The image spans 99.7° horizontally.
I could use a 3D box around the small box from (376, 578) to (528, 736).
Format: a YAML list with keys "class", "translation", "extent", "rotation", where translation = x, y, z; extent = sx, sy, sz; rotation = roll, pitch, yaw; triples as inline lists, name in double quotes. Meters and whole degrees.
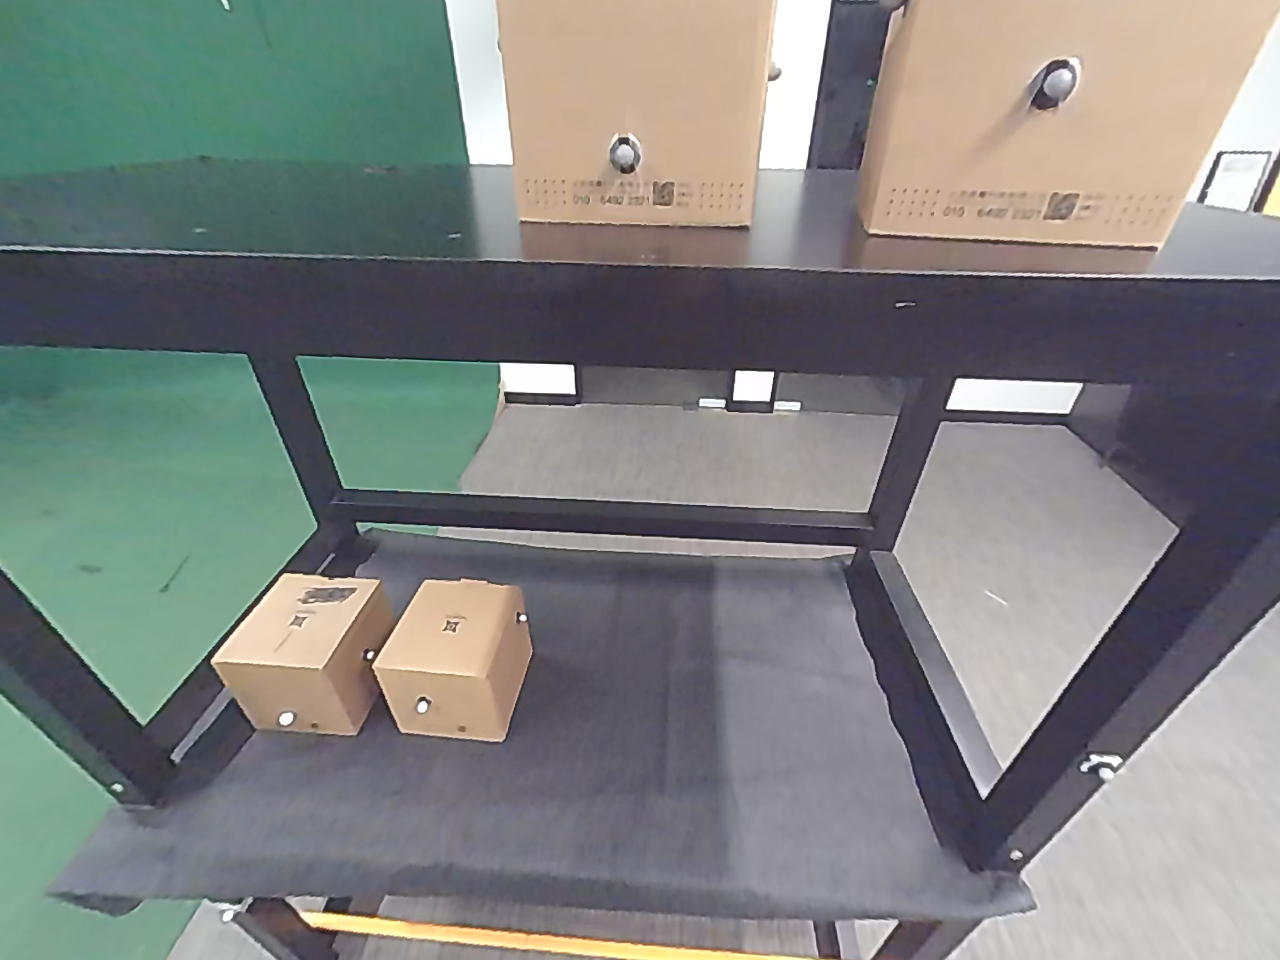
- class: "small box"
  translation: [-0.283, 0.283, 0.866]
  extent: [0.168, 0.176, 0.179]
  rotation: [4, 33, 4]

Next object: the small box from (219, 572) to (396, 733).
- class: "small box"
  translation: [-0.511, 0.273, 0.869]
  extent: [0.168, 0.176, 0.179]
  rotation: [3, 34, 3]

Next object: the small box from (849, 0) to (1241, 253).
- class: "small box"
  translation: [0.249, -0.261, 0.372]
  extent: [0.168, 0.176, 0.179]
  rotation: [9, 34, 12]
